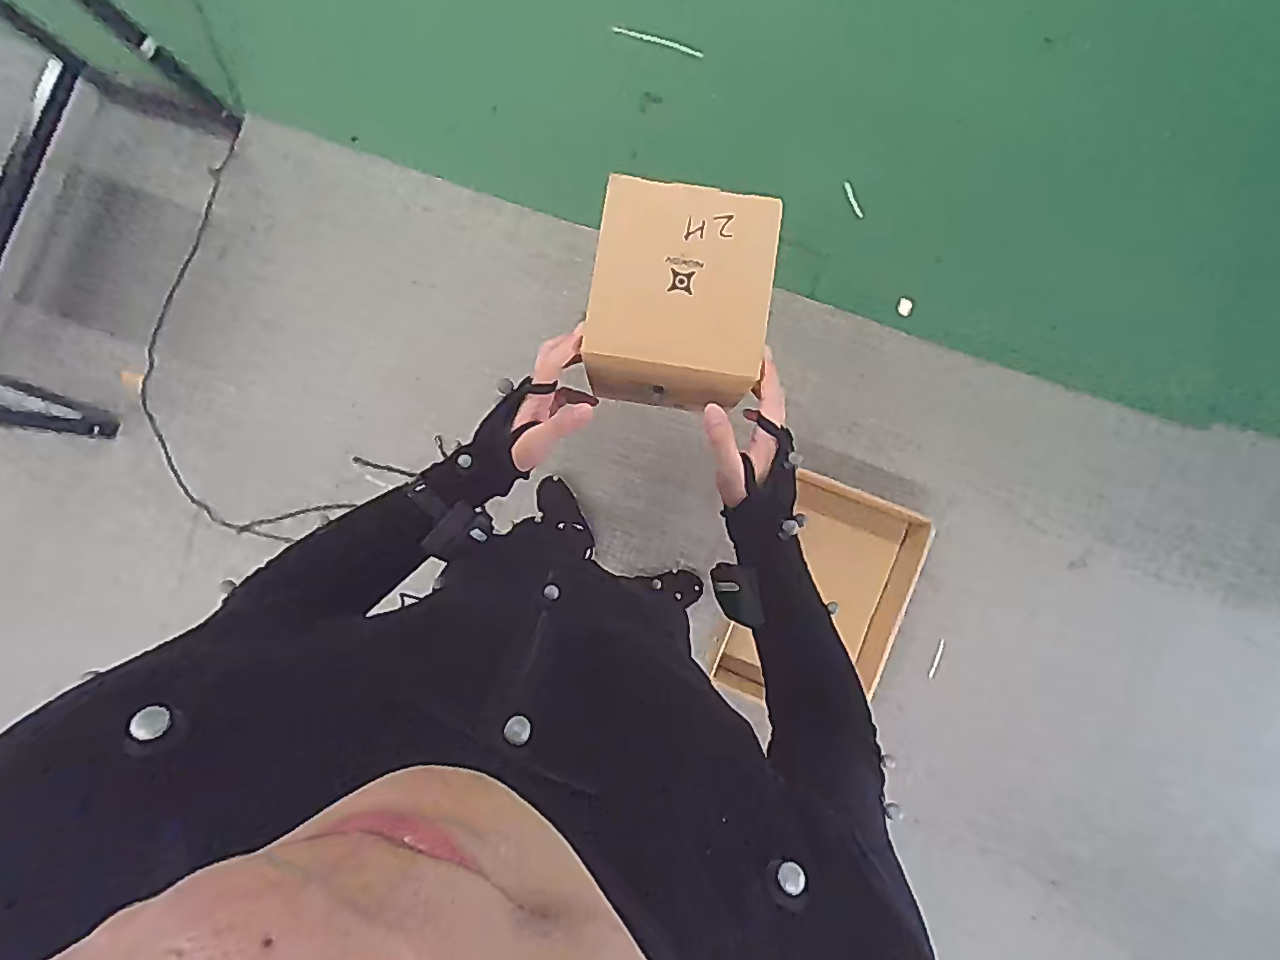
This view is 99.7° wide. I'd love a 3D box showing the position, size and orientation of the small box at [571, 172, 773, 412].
[{"bbox_3d":[0.029,-0.180,0.569,0.168,0.176,0.179,8,83,-1],"label":"small box"}]
